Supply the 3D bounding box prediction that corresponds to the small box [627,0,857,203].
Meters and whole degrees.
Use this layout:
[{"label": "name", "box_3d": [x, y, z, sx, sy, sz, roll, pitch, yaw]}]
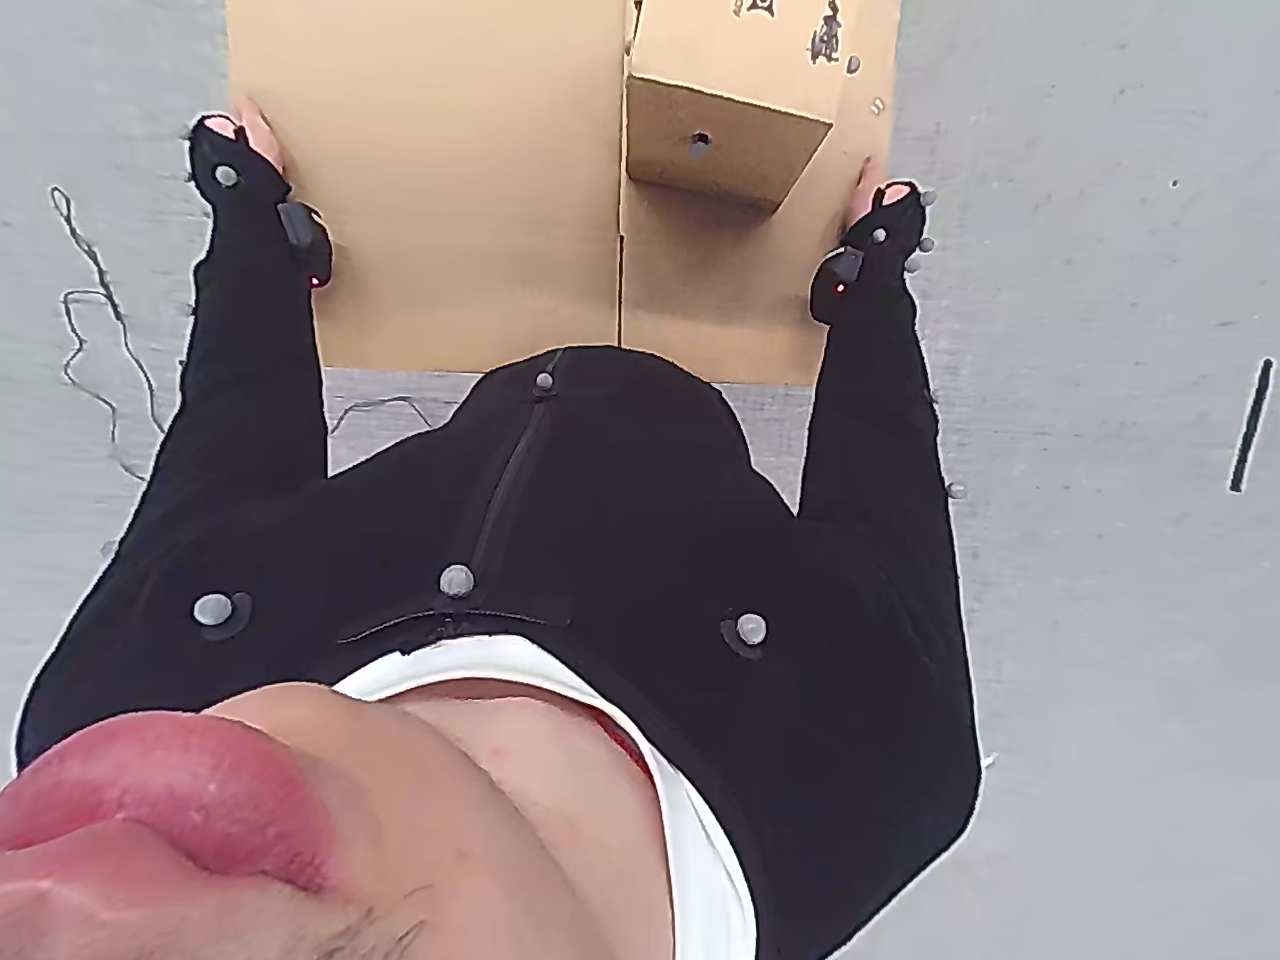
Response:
[{"label": "small box", "box_3d": [0.090, -0.396, 0.521, 0.179, 0.176, 0.168, 12, 94, -1]}]
